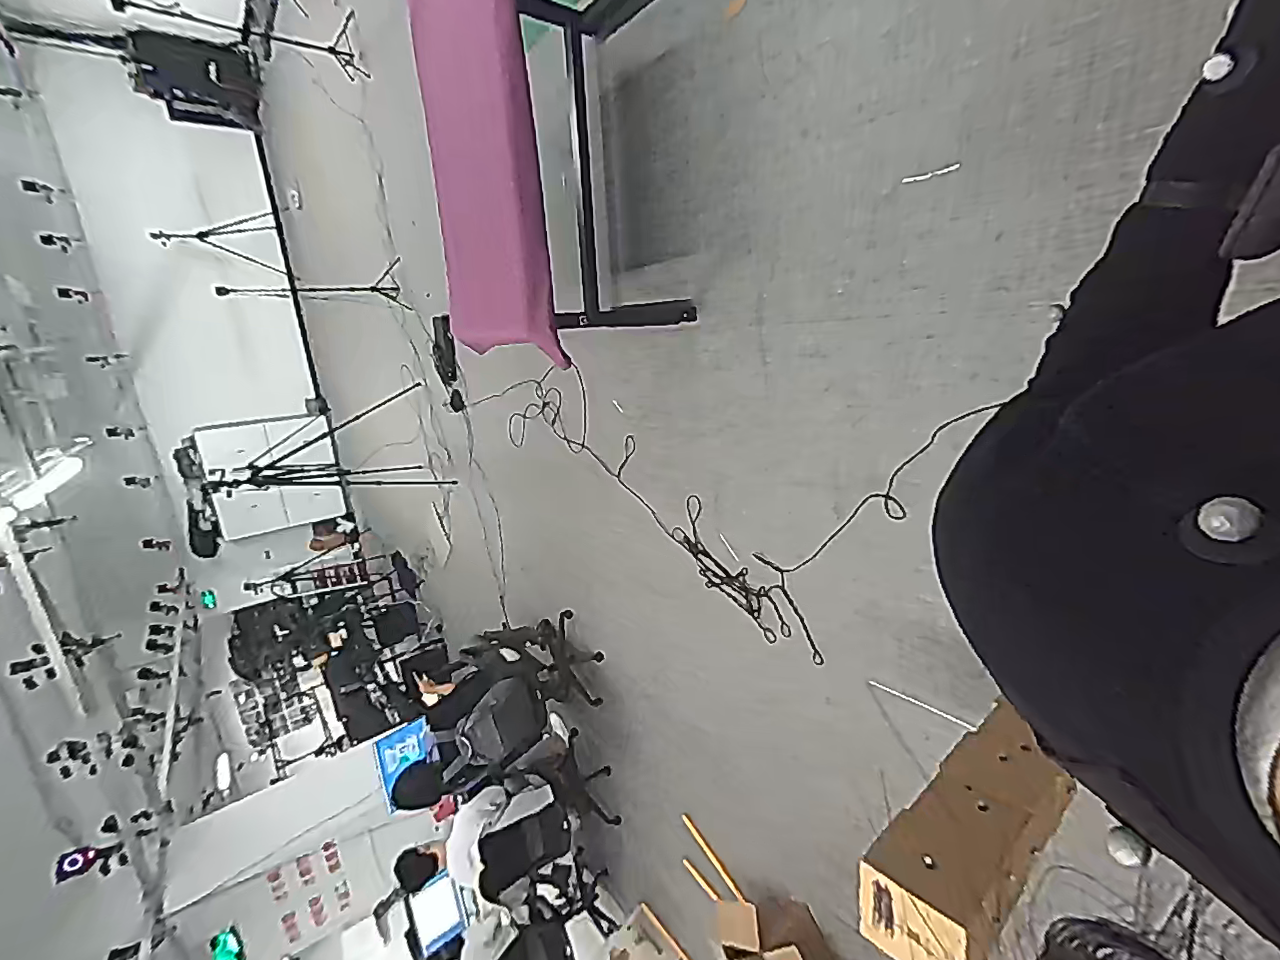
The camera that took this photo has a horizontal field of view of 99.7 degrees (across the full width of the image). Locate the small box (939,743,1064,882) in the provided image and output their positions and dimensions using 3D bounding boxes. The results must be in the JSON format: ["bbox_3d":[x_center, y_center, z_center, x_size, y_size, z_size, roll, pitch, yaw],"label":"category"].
[{"bbox_3d":[0.762,0.694,1.150,0.179,0.176,0.168,11,110,52],"label":"small box"}]

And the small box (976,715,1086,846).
[{"bbox_3d":[0.893,0.677,1.246,0.179,0.176,0.168,14,111,50],"label":"small box"}]

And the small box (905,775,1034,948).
[{"bbox_3d":[0.639,0.724,1.048,0.168,0.176,0.179,10,108,50],"label":"small box"}]

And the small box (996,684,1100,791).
[{"bbox_3d":[1.015,0.641,1.351,0.179,0.176,0.168,13,112,51],"label":"small box"}]
